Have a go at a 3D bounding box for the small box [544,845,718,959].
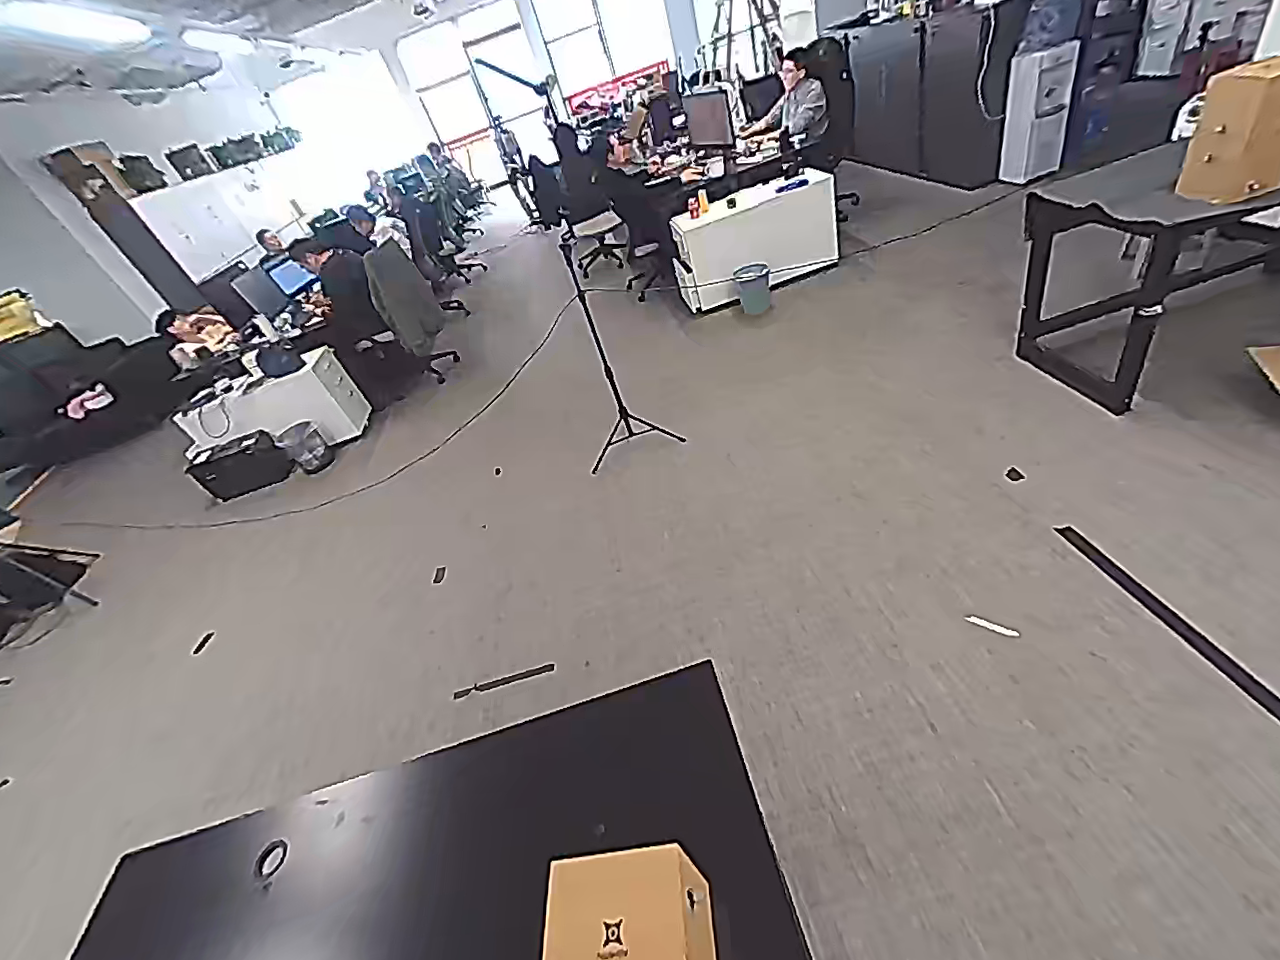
[{"bbox_3d":[-0.005,0.565,0.635,0.168,0.176,0.179,-15,38,10],"label":"small box"}]
